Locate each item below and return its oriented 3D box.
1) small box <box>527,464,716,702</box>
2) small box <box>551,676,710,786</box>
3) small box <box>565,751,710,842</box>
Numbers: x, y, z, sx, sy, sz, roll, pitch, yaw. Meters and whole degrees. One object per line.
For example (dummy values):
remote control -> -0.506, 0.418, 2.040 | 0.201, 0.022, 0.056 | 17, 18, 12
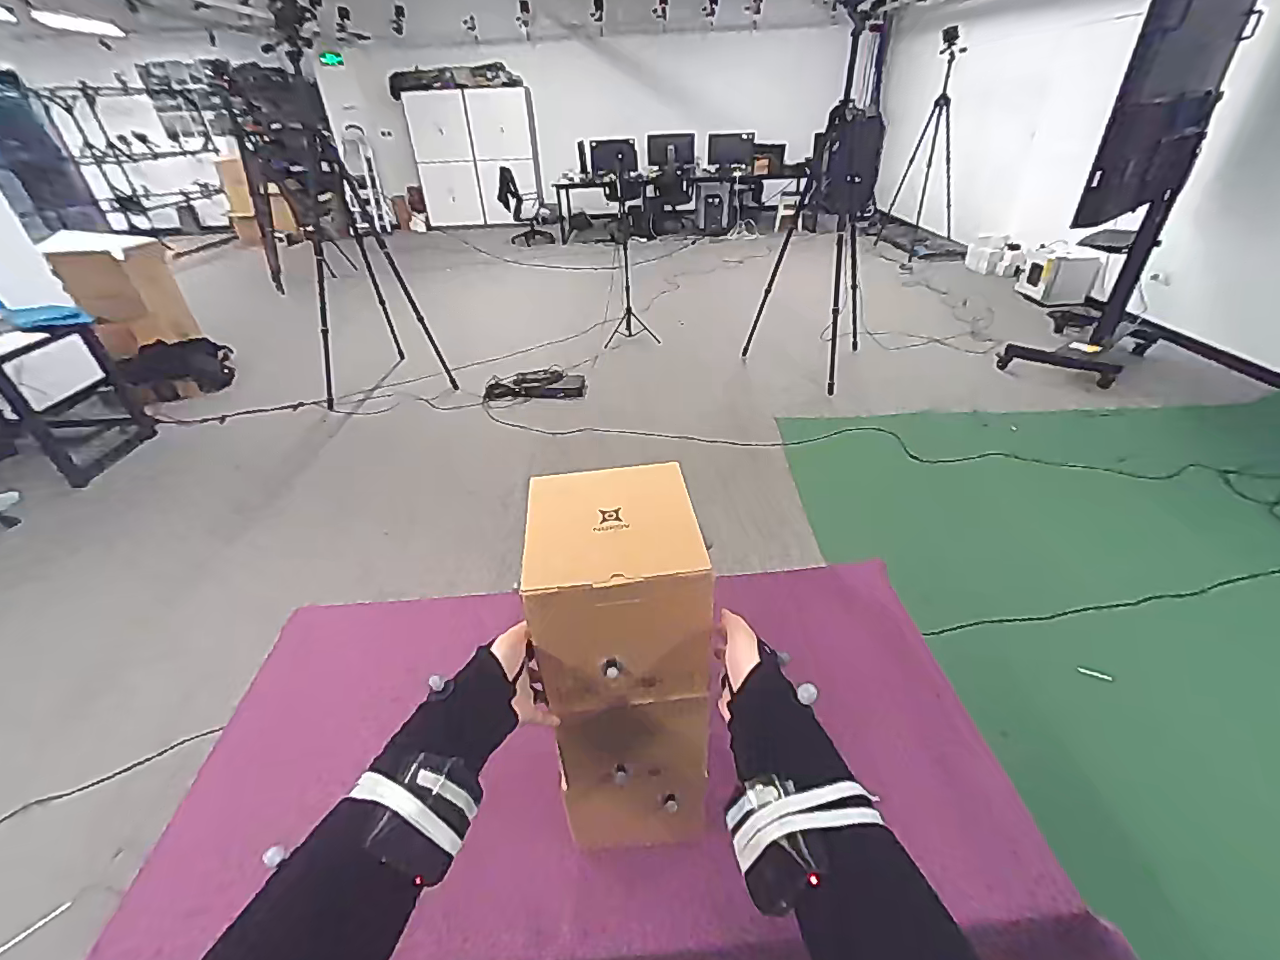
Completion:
small box -> -0.021, 0.104, 0.574 | 0.168, 0.176, 0.179 | -6, 36, -4
small box -> -0.012, 0.240, 0.662 | 0.168, 0.176, 0.179 | -5, 36, -2
small box -> -0.004, 0.376, 0.753 | 0.179, 0.176, 0.168 | -4, 34, -1
